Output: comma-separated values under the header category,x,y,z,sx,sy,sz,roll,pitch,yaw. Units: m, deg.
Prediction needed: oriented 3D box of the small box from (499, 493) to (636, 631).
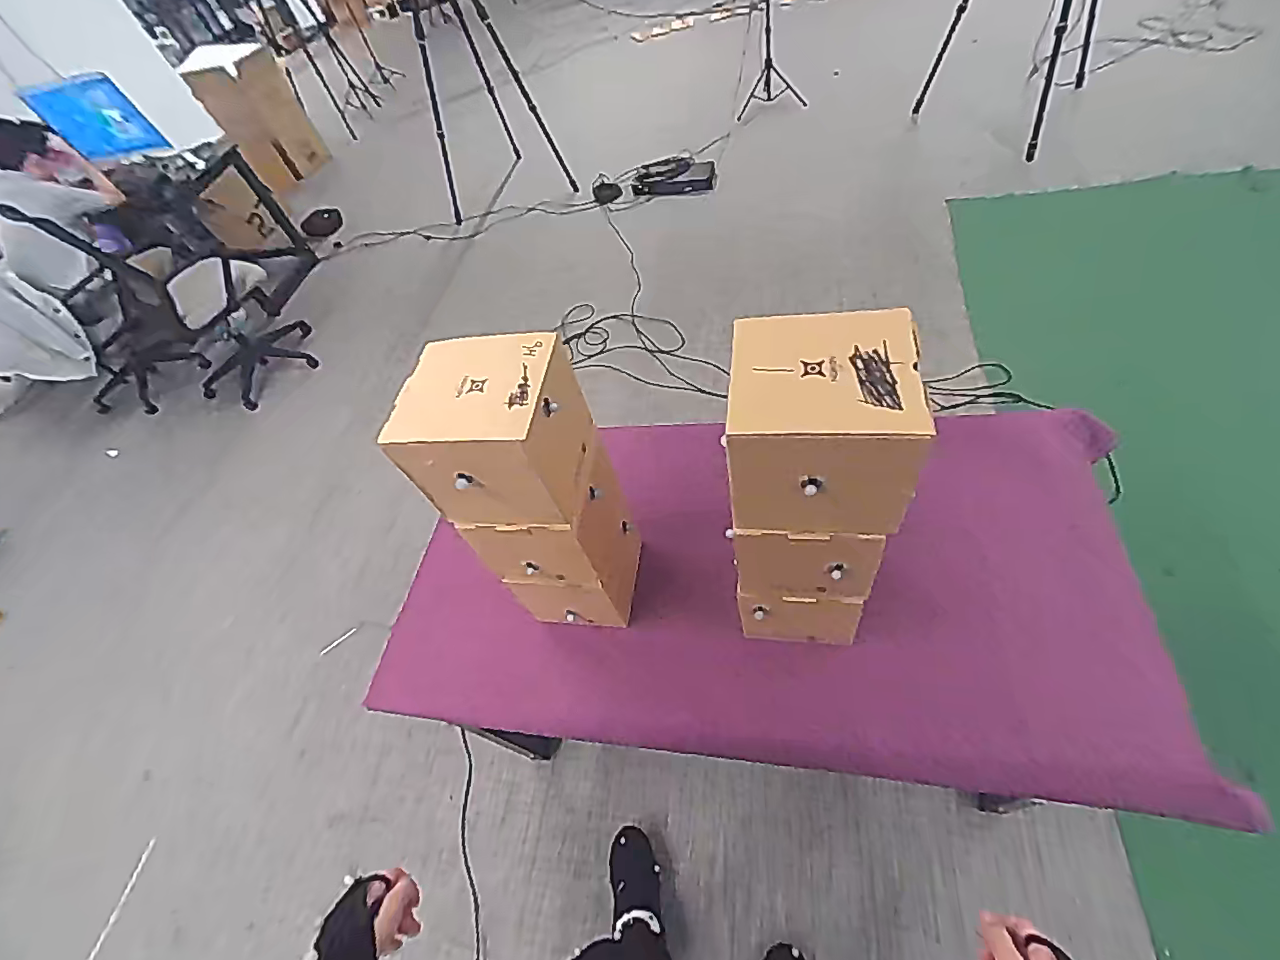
category,x,y,z,sx,sy,sz,roll,pitch,yaw
small box,-0.109,0.136,0.914,0.168,0.176,0.179,1,55,15

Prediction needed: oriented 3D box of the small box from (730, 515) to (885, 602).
category,x,y,z,sx,sy,sz,roll,pitch,yaw
small box,0.209,0.044,0.698,0.168,0.176,0.179,1,54,14

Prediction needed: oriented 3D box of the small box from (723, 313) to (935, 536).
category,x,y,z,sx,sy,sz,roll,pitch,yaw
small box,0.186,-0.052,0.568,0.179,0.176,0.168,1,54,15

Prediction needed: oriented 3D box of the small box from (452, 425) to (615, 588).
category,x,y,z,sx,sy,sz,roll,pitch,yaw
small box,-0.139,0.039,0.787,0.168,0.176,0.179,0,55,13

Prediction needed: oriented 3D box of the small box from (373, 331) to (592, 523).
category,x,y,z,sx,sy,sz,roll,pitch,yaw
small box,-0.174,-0.057,0.659,0.179,0.176,0.168,-1,55,14
